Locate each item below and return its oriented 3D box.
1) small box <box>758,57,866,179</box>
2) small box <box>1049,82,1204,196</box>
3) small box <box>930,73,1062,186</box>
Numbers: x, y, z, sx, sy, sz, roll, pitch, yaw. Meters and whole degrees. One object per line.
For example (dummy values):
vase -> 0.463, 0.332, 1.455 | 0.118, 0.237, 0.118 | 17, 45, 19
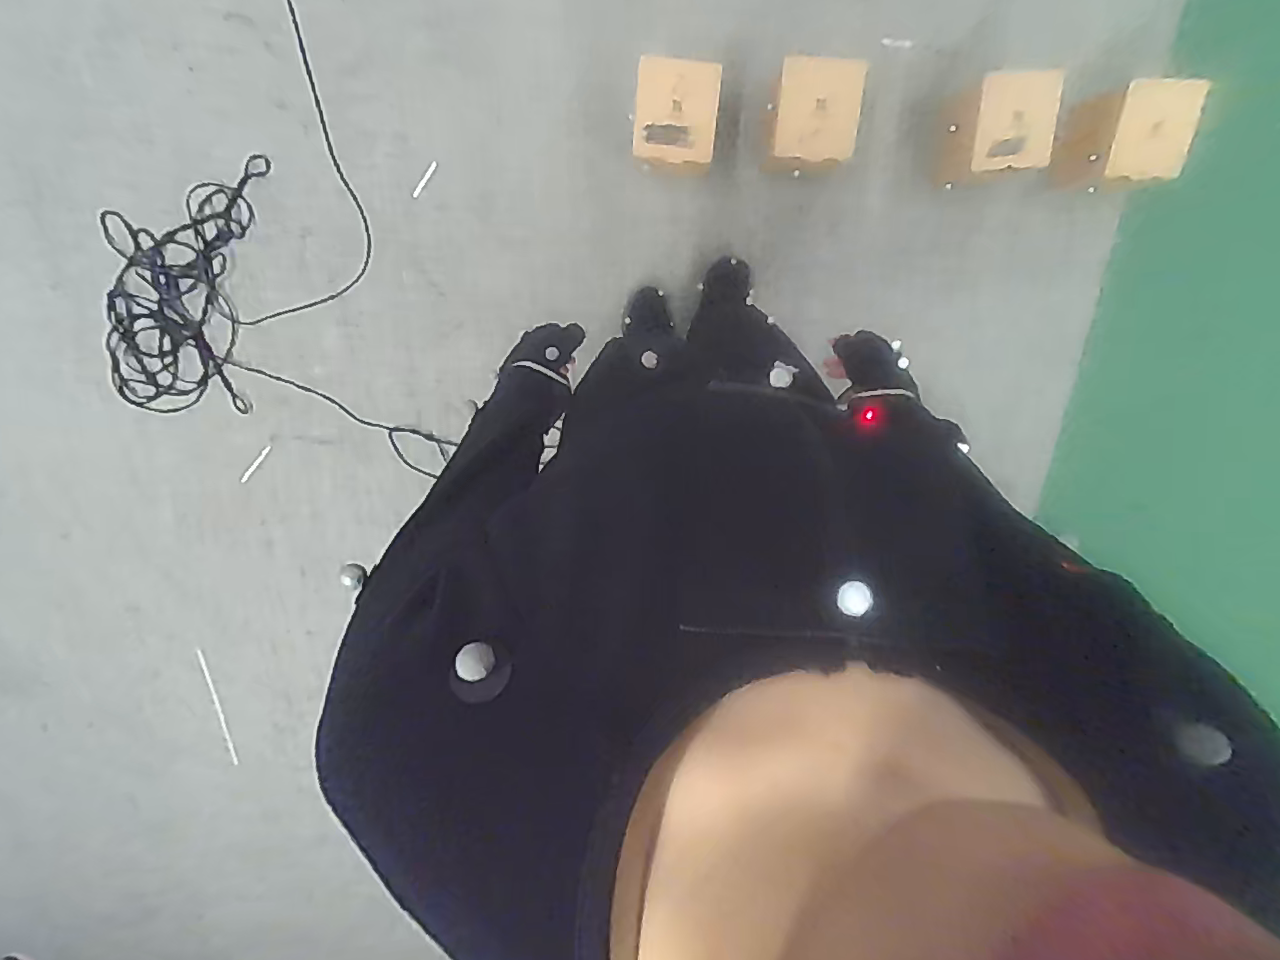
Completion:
small box -> 0.356, -0.763, 1.156 | 0.168, 0.176, 0.179 | 2, 110, -1
small box -> 1.050, -0.739, 1.187 | 0.168, 0.176, 0.179 | 1, 110, -1
small box -> 0.758, -0.748, 1.174 | 0.168, 0.176, 0.179 | -3, 109, -1
